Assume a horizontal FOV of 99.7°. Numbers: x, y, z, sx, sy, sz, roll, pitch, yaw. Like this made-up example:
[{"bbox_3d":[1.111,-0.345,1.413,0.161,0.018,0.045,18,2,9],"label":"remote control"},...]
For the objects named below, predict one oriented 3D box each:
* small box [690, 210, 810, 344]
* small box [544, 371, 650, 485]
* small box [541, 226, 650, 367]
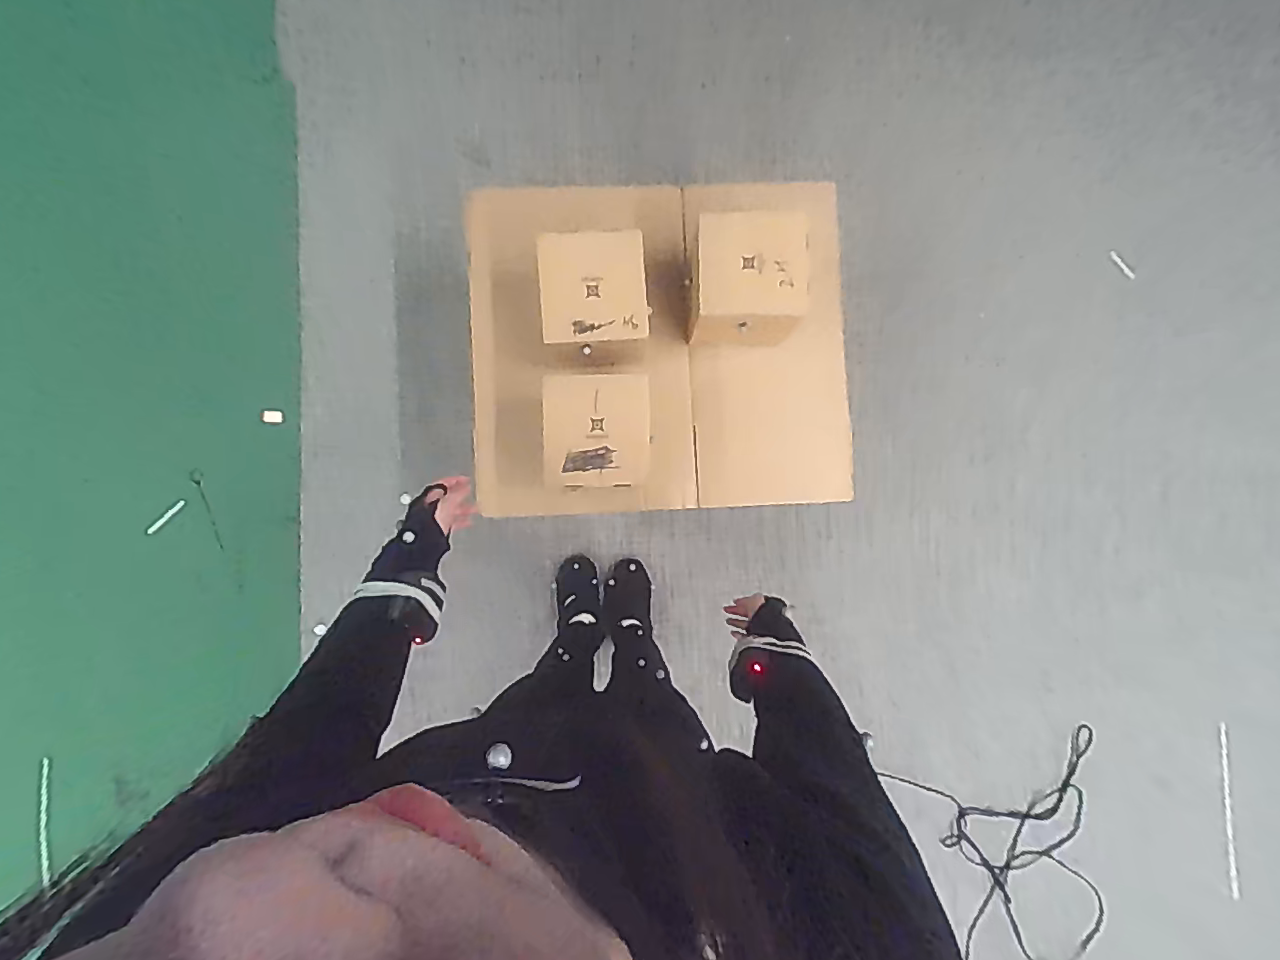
[{"bbox_3d":[0.179,-0.337,0.926,0.179,0.176,0.168,1,88,-1],"label":"small box"},{"bbox_3d":[-0.067,-0.079,0.910,0.168,0.176,0.179,-1,88,-2],"label":"small box"},{"bbox_3d":[-0.071,-0.301,0.915,0.168,0.176,0.179,-3,87,-1],"label":"small box"}]
